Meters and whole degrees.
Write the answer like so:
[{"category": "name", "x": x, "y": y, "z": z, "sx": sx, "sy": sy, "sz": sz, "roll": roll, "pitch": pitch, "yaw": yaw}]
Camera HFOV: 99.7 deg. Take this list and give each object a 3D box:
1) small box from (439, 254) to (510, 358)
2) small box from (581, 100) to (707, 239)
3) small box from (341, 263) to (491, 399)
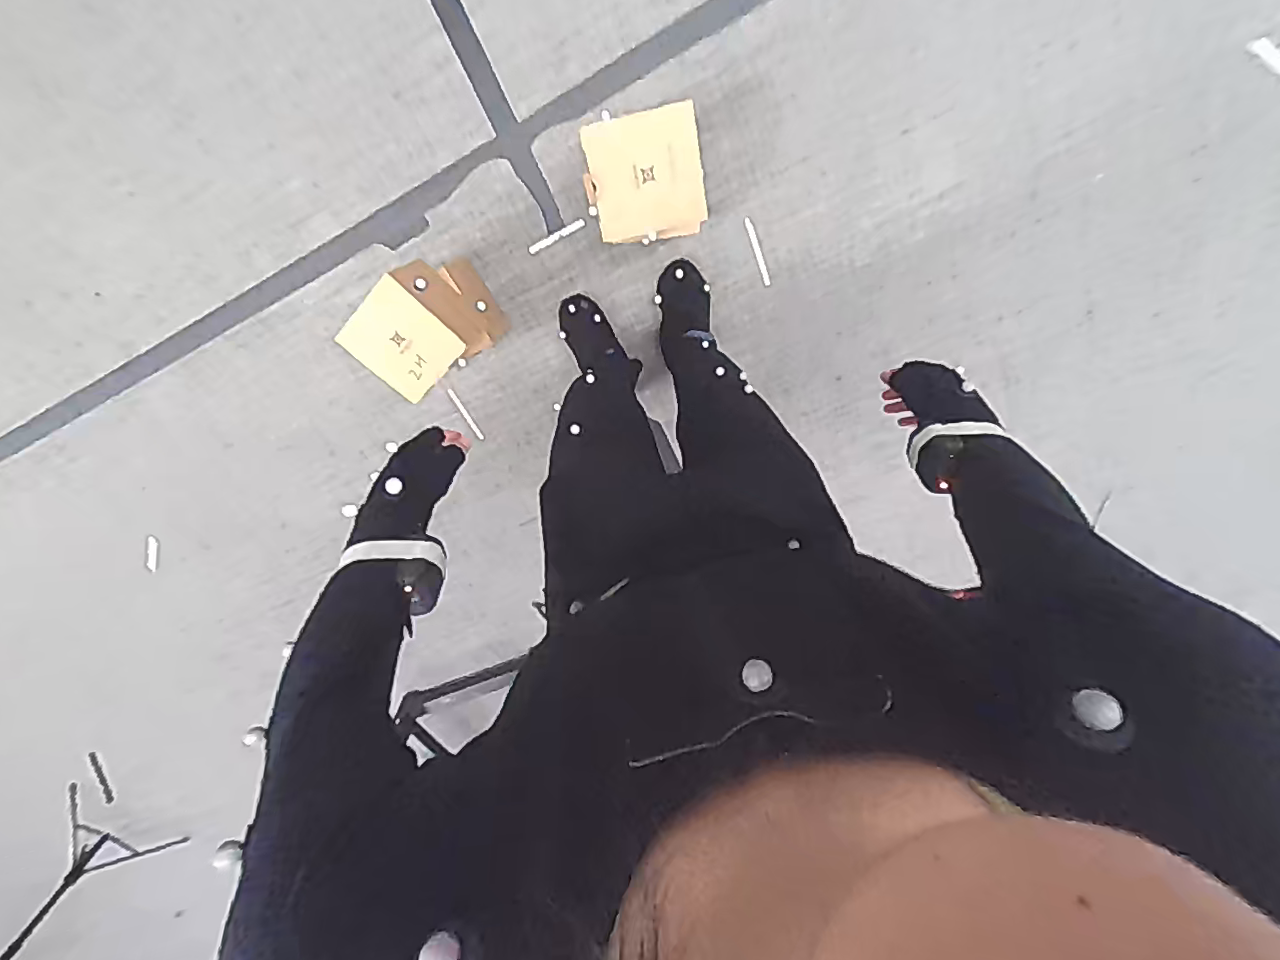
[{"category": "small box", "x": -0.409, "y": -0.369, "z": 1.184, "sx": 0.168, "sy": 0.176, "sz": 0.179, "roll": -23, "pitch": 117, "yaw": 13}, {"category": "small box", "x": 0.009, "y": -0.516, "z": 0.909, "sx": 0.179, "sy": 0.176, "sz": 0.168, "roll": -10, "pitch": 121, "yaw": 4}, {"category": "small box", "x": -0.418, "y": -0.293, "z": 1.038, "sx": 0.168, "sy": 0.176, "sz": 0.179, "roll": -35, "pitch": 117, "yaw": 20}]
